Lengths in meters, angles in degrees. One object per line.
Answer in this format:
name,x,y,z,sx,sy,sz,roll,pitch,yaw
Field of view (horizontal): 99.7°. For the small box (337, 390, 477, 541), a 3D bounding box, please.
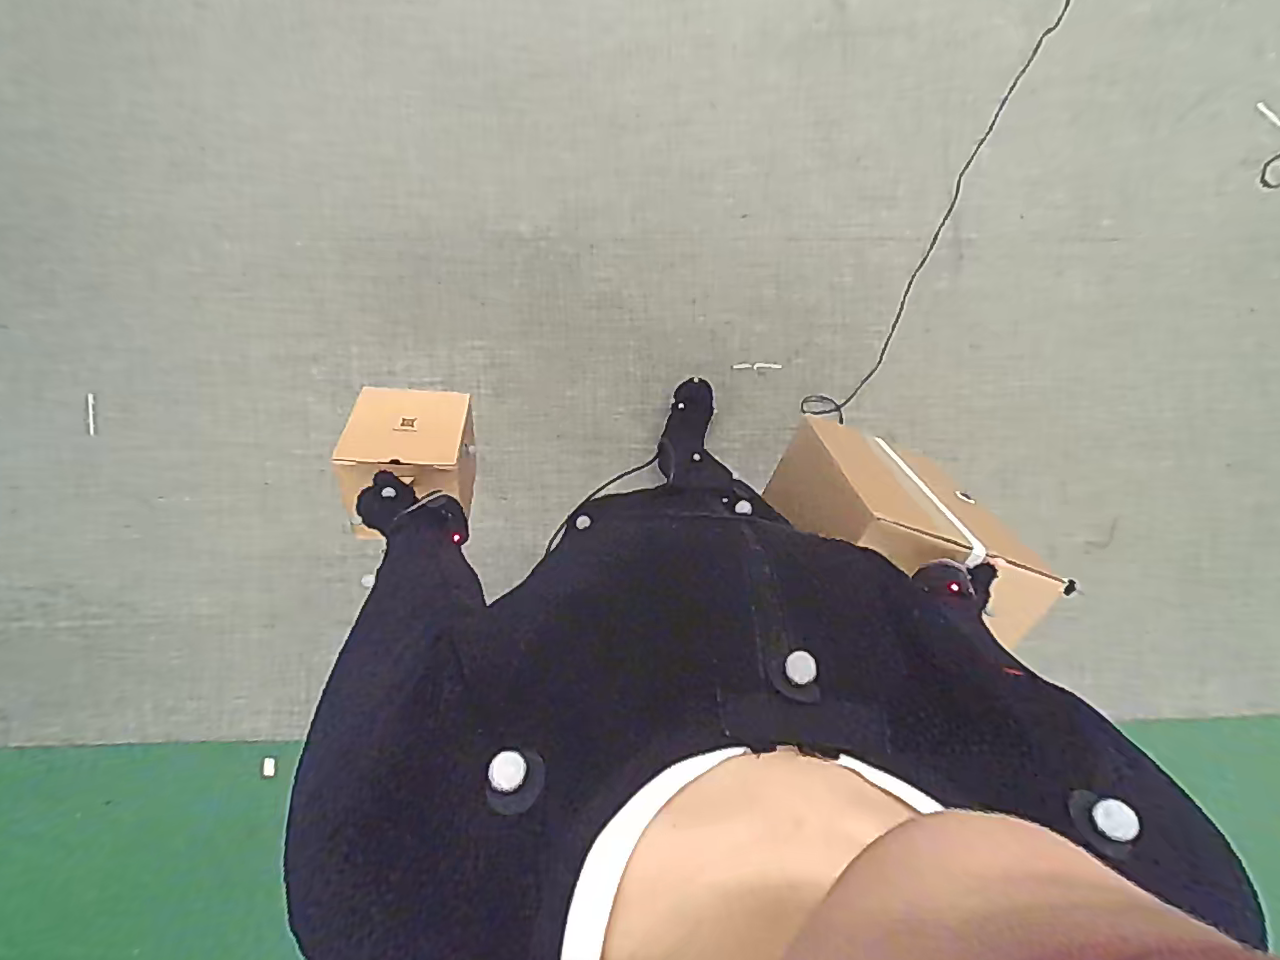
small box,-0.358,-0.024,0.871,0.168,0.179,0.176,2,133,-9
